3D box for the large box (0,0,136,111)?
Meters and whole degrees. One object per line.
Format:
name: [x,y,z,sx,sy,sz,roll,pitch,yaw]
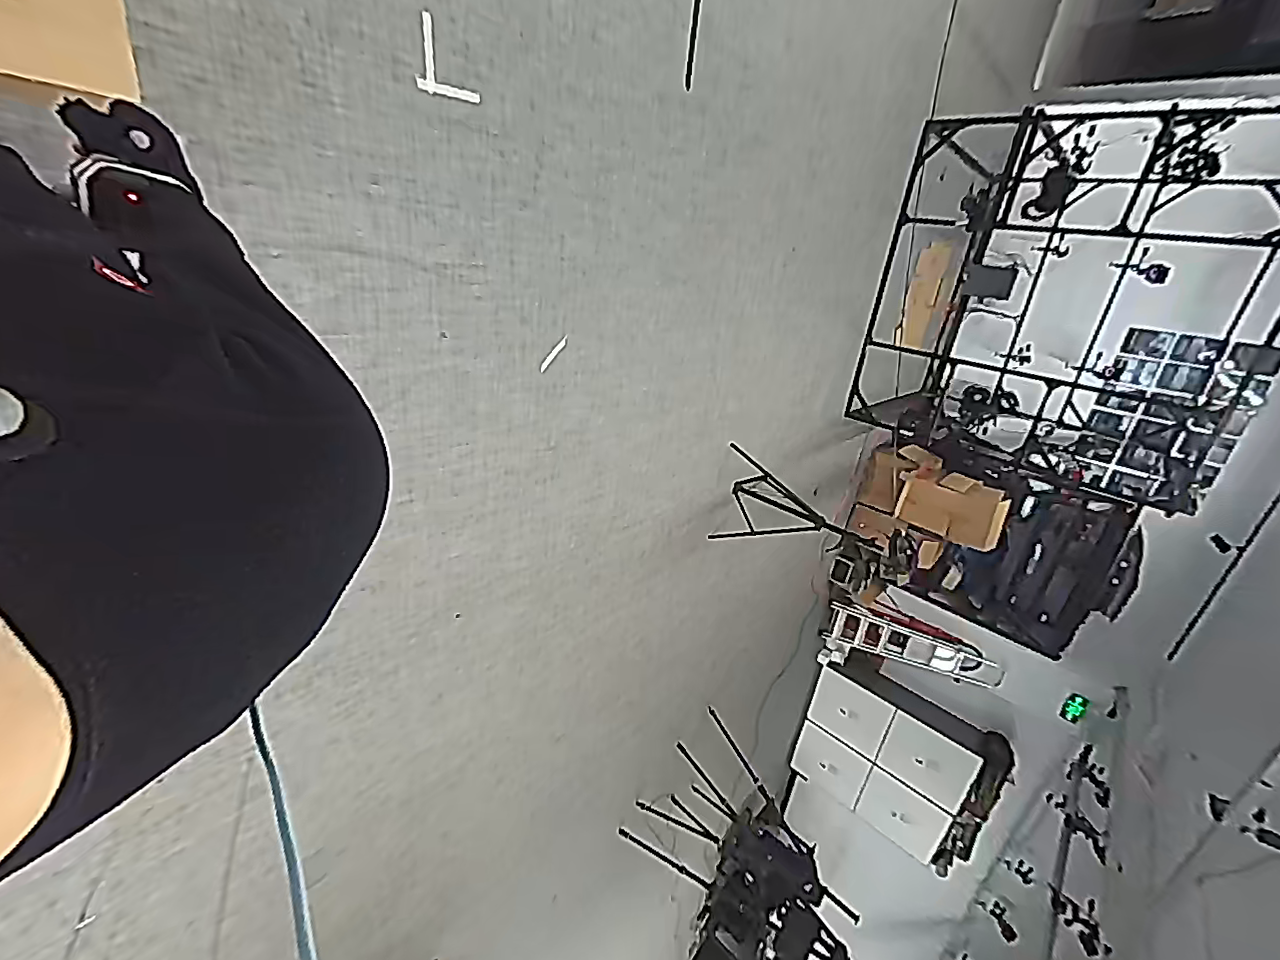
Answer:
large box: [-0.980,-0.715,0.698,0.408,0.320,0.320,-18,124,-46]
